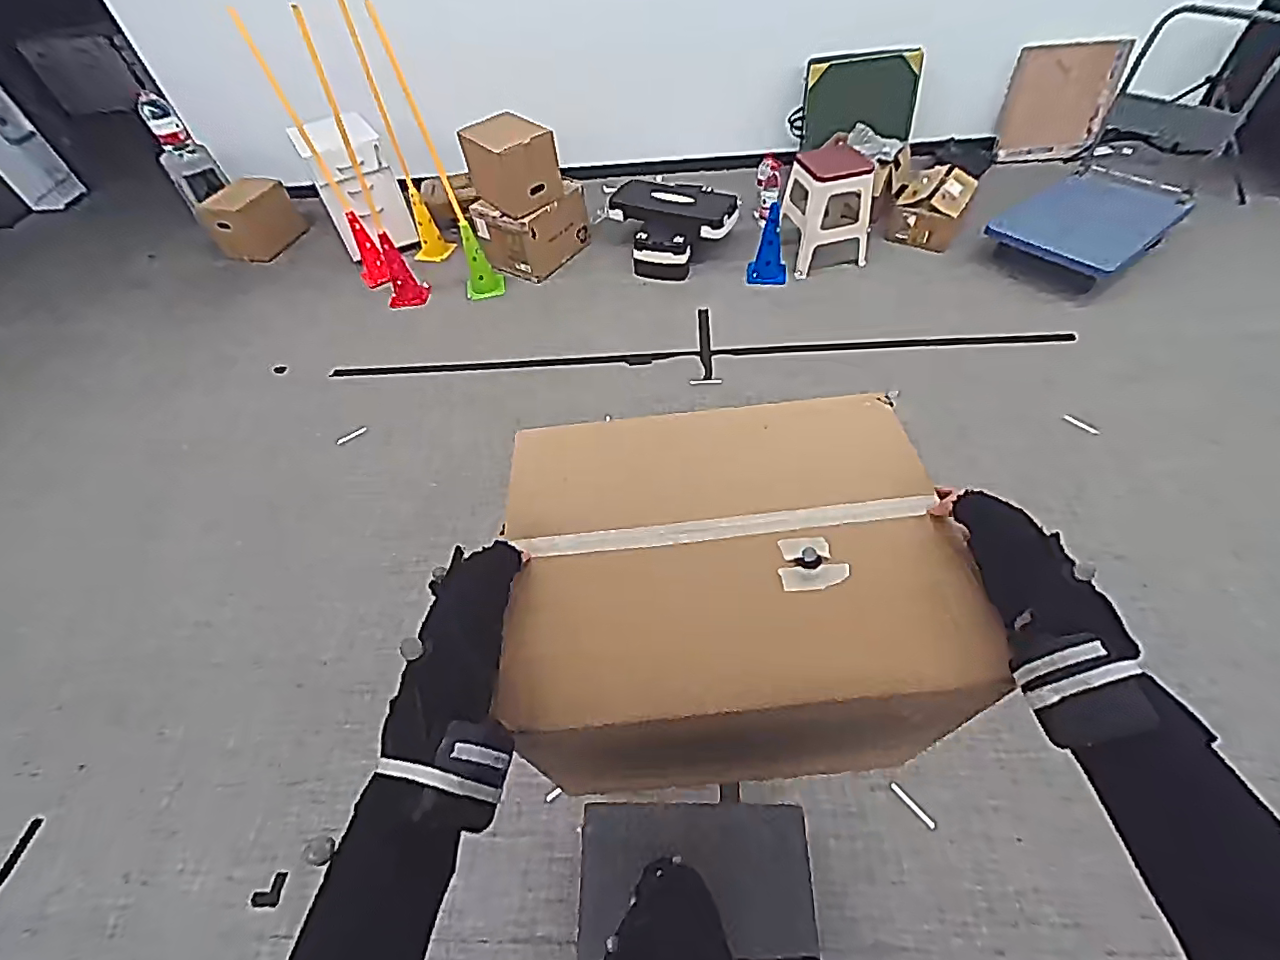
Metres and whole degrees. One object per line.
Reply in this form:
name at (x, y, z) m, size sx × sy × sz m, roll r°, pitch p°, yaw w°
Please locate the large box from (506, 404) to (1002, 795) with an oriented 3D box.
large box at (0.087, 0.147, 0.631) m, size 0.408 × 0.320 × 0.320 m, roll -6°, pitch 52°, yaw 1°
